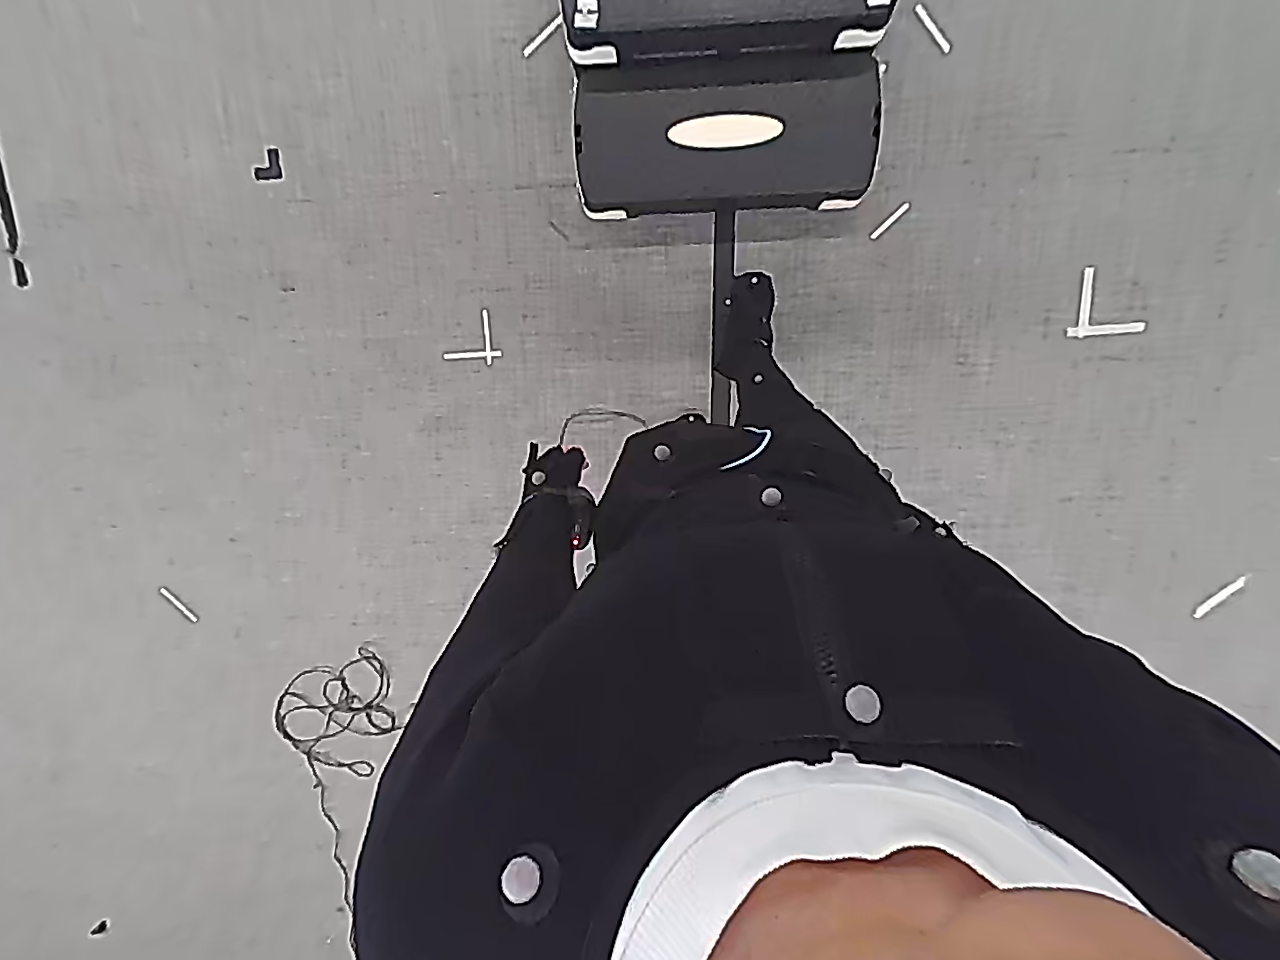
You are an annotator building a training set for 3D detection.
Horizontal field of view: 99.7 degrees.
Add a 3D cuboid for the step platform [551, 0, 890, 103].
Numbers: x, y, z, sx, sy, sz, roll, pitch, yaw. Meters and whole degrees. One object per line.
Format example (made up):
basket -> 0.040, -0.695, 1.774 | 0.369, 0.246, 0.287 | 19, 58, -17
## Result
step platform -> 0.158, -1.006, 1.123 | 0.684, 0.204, 0.286 | -2, 103, 3
